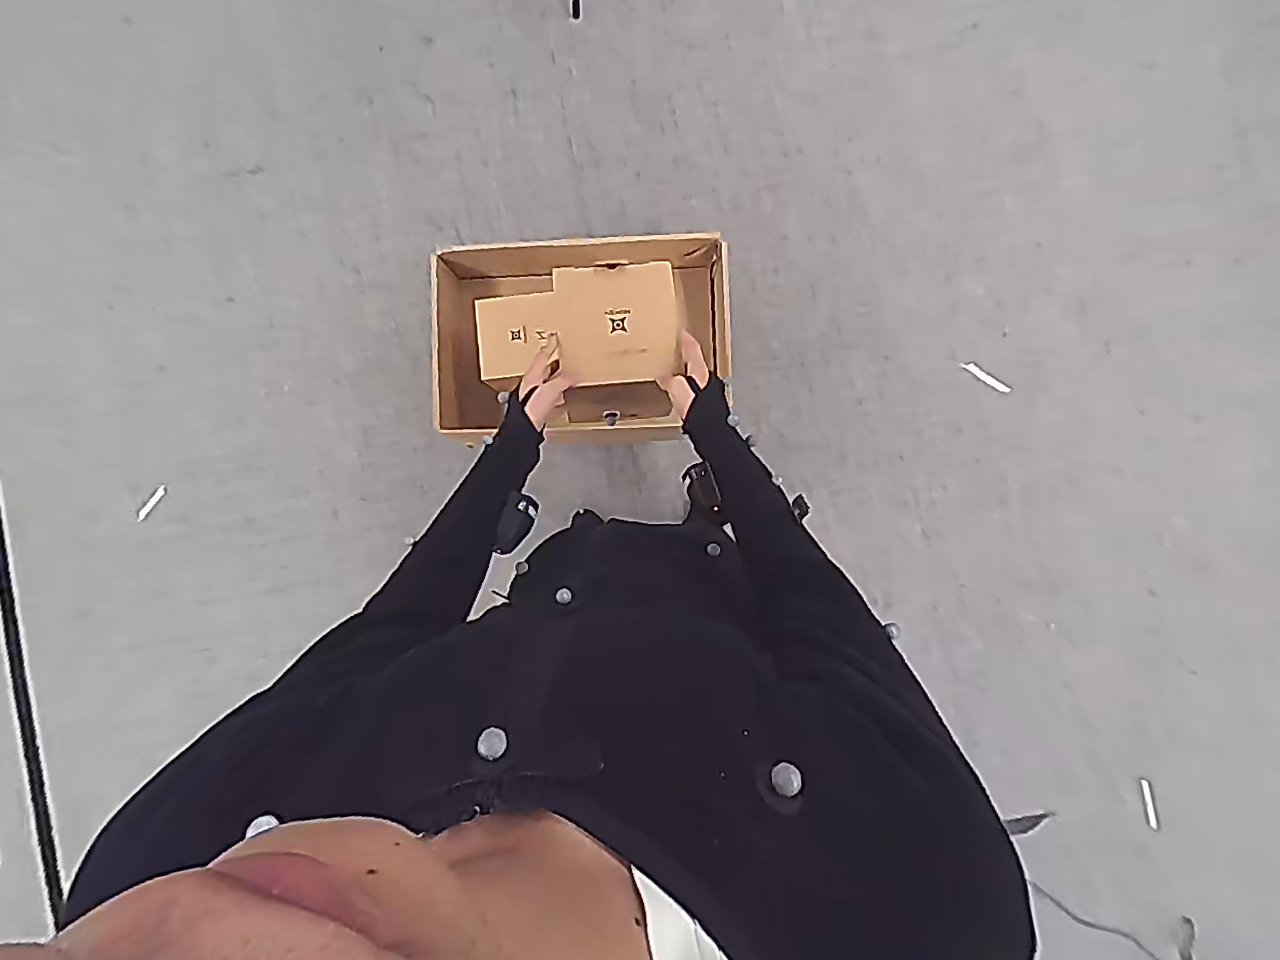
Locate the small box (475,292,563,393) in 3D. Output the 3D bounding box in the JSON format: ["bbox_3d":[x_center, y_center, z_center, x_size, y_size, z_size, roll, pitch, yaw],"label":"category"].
[{"bbox_3d":[-0.238,-0.288,1.165,0.179,0.176,0.168,-5,89,1],"label":"small box"}]

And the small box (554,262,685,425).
[{"bbox_3d":[-0.035,-0.194,0.799,0.168,0.176,0.179,-5,78,-5],"label":"small box"}]
